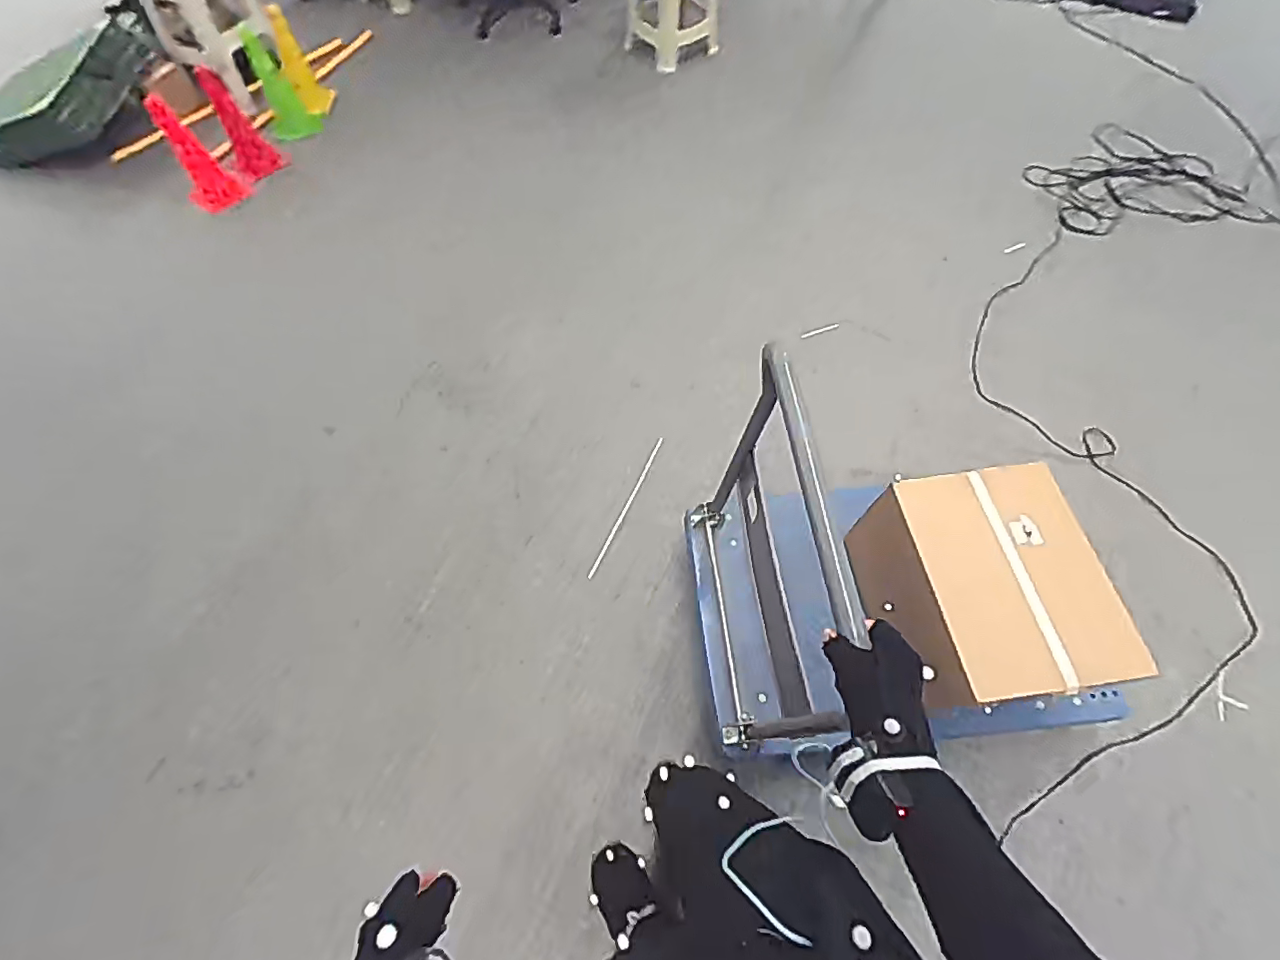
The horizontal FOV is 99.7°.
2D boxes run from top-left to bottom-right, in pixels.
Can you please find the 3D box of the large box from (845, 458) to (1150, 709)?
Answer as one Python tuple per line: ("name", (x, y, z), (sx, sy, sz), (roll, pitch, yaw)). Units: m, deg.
("large box", (0.669, 0.220, 1.106), (0.320, 0.320, 0.408), (-7, 62, -3))
